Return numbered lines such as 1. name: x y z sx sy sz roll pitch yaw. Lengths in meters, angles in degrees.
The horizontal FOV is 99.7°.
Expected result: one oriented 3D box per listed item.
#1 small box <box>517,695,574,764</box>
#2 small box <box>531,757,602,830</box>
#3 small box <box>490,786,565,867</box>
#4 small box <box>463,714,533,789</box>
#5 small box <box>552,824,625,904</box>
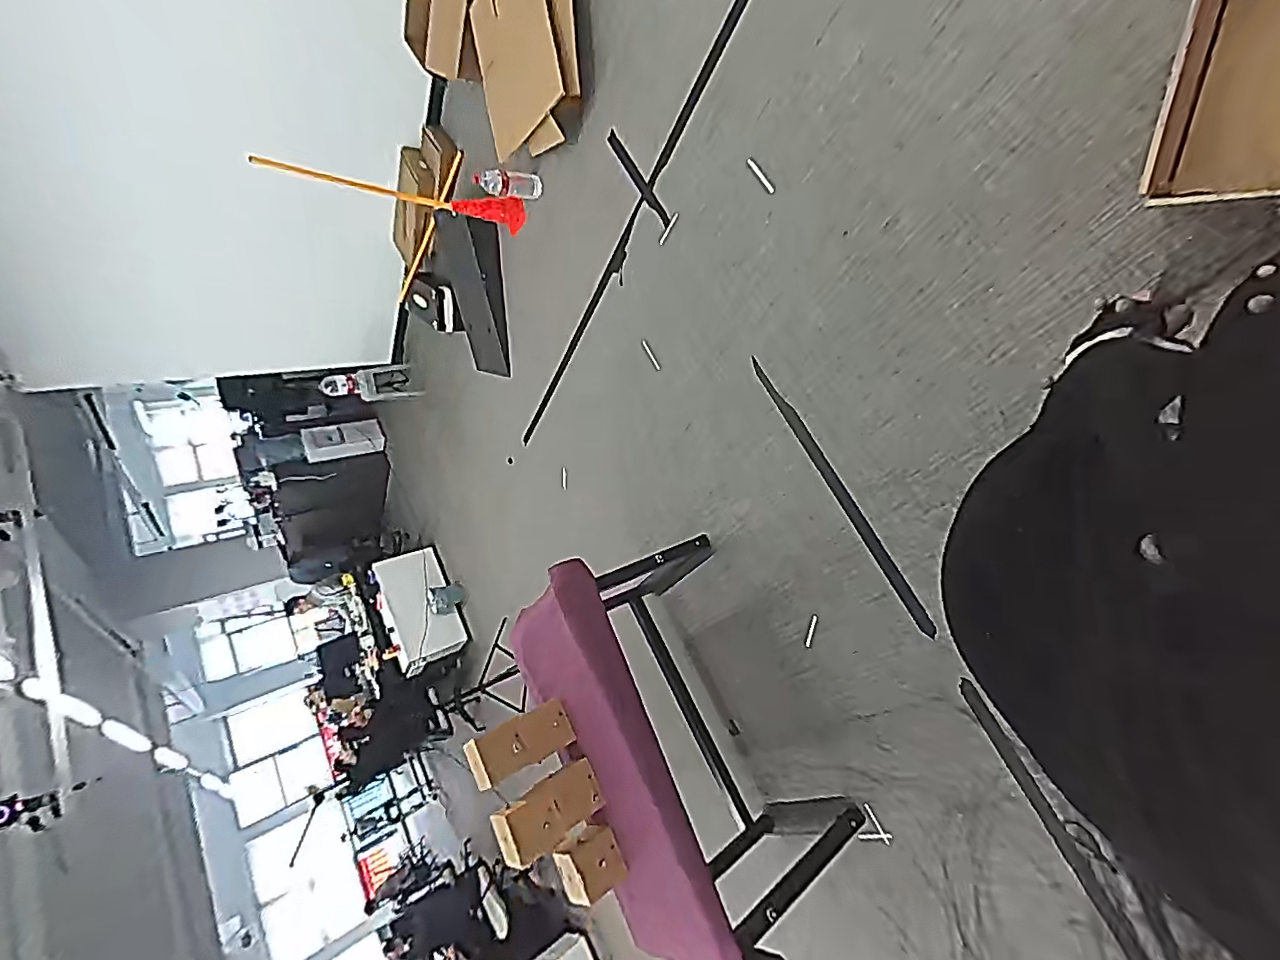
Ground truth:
1. small box: -0.368 0.918 1.988 0.168 0.176 0.179 61 140 16
2. small box: -0.254 1.103 1.907 0.168 0.176 0.179 62 141 17
3. small box: -0.375 1.152 1.810 0.179 0.176 0.168 -44 68 48
4. small box: -0.497 0.950 1.895 0.168 0.176 0.179 60 140 18
5. small box: -0.173 1.327 1.881 0.179 0.176 0.168 -45 66 47
